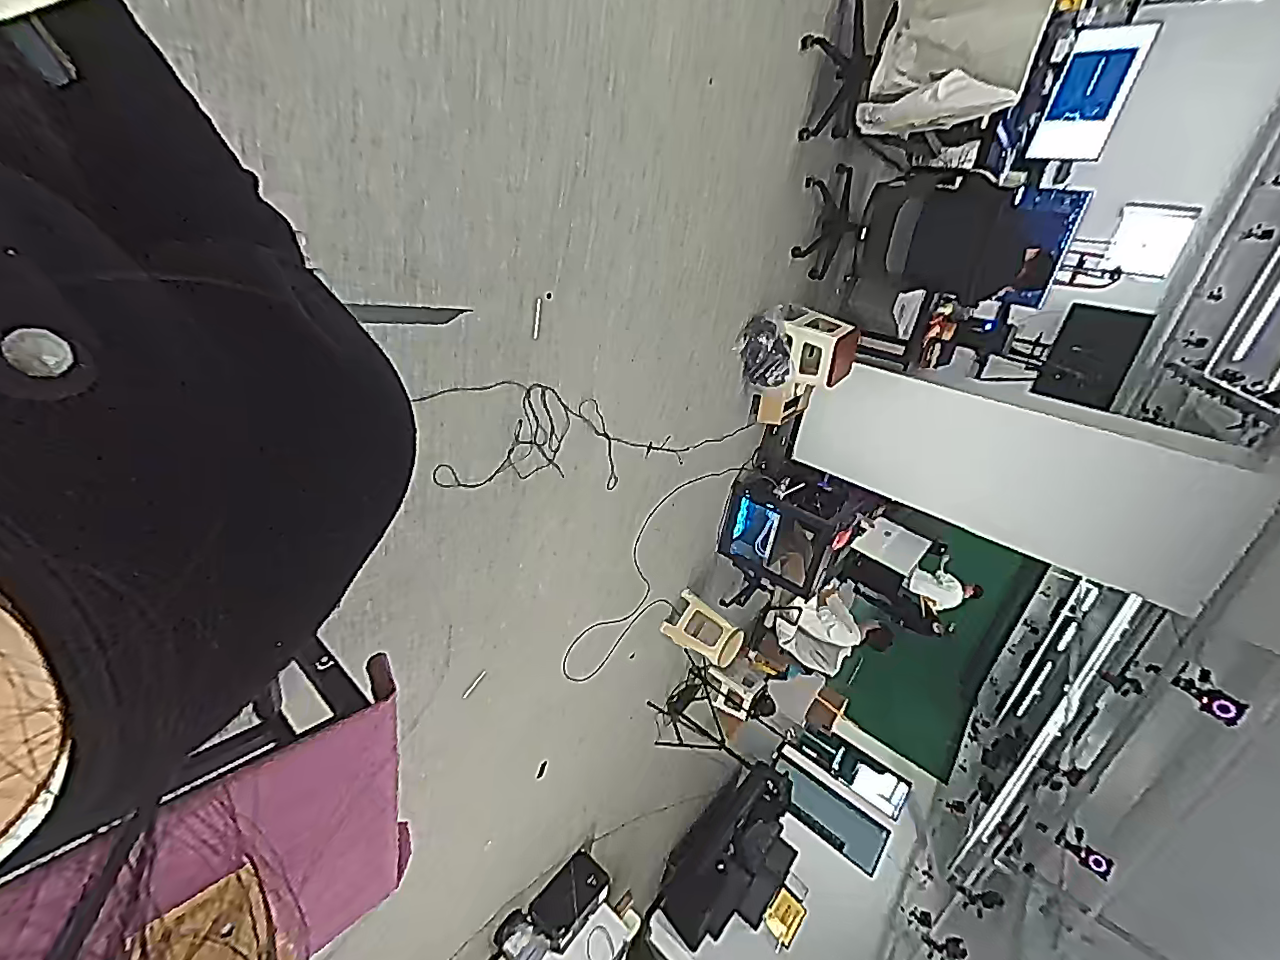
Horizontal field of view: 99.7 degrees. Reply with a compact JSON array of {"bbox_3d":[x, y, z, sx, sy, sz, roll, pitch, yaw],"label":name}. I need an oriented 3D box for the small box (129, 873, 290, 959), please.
[{"bbox_3d":[-0.692,0.794,0.879,0.168,0.176,0.179,-17,126,-49],"label":"small box"}]
